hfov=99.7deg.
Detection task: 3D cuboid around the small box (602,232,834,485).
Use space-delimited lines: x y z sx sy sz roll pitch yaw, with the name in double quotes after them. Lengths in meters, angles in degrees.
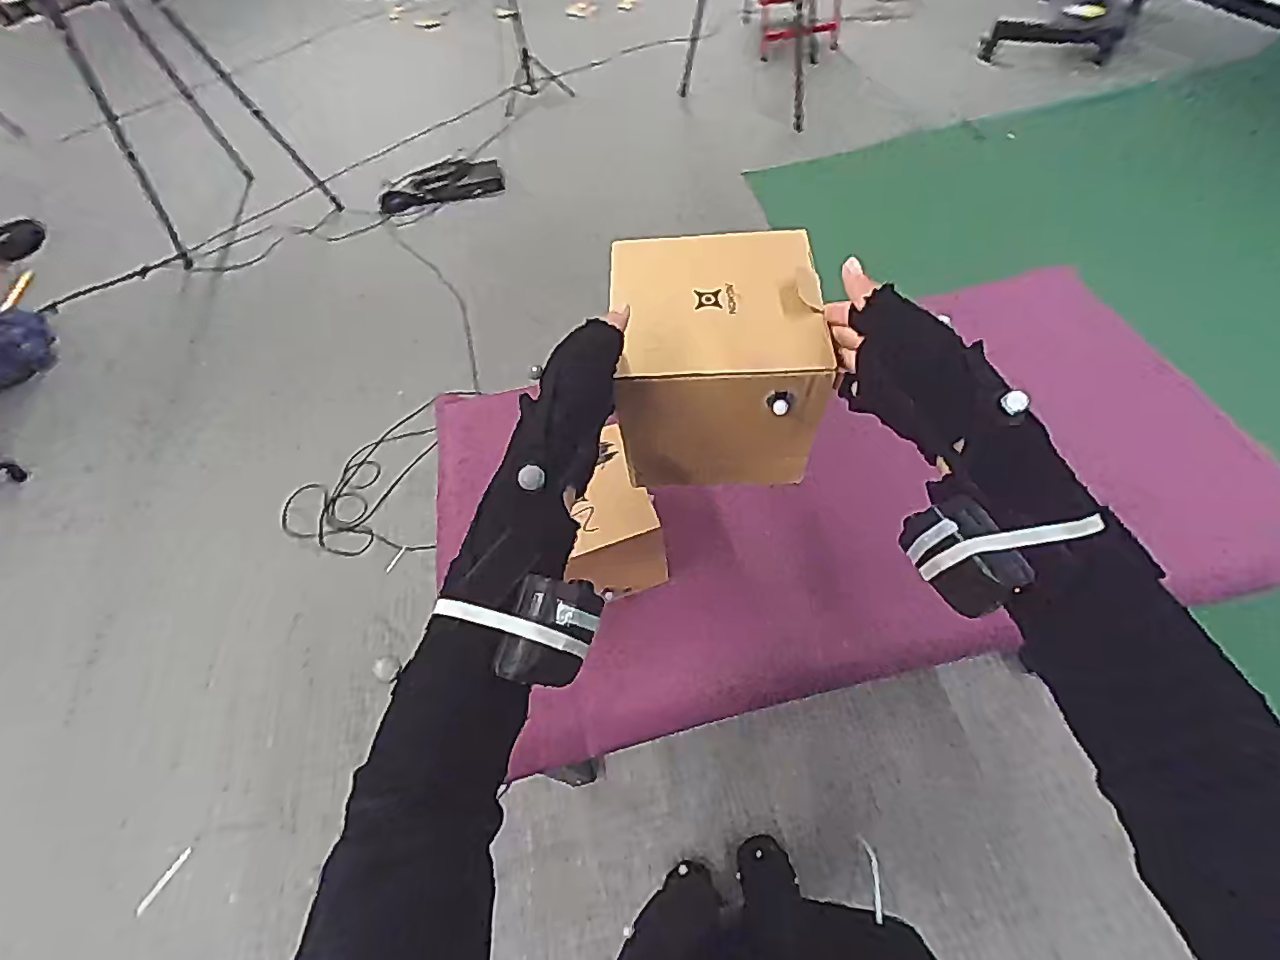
0.066 -0.105 0.512 0.179 0.176 0.168 -2 59 4 "small box"
